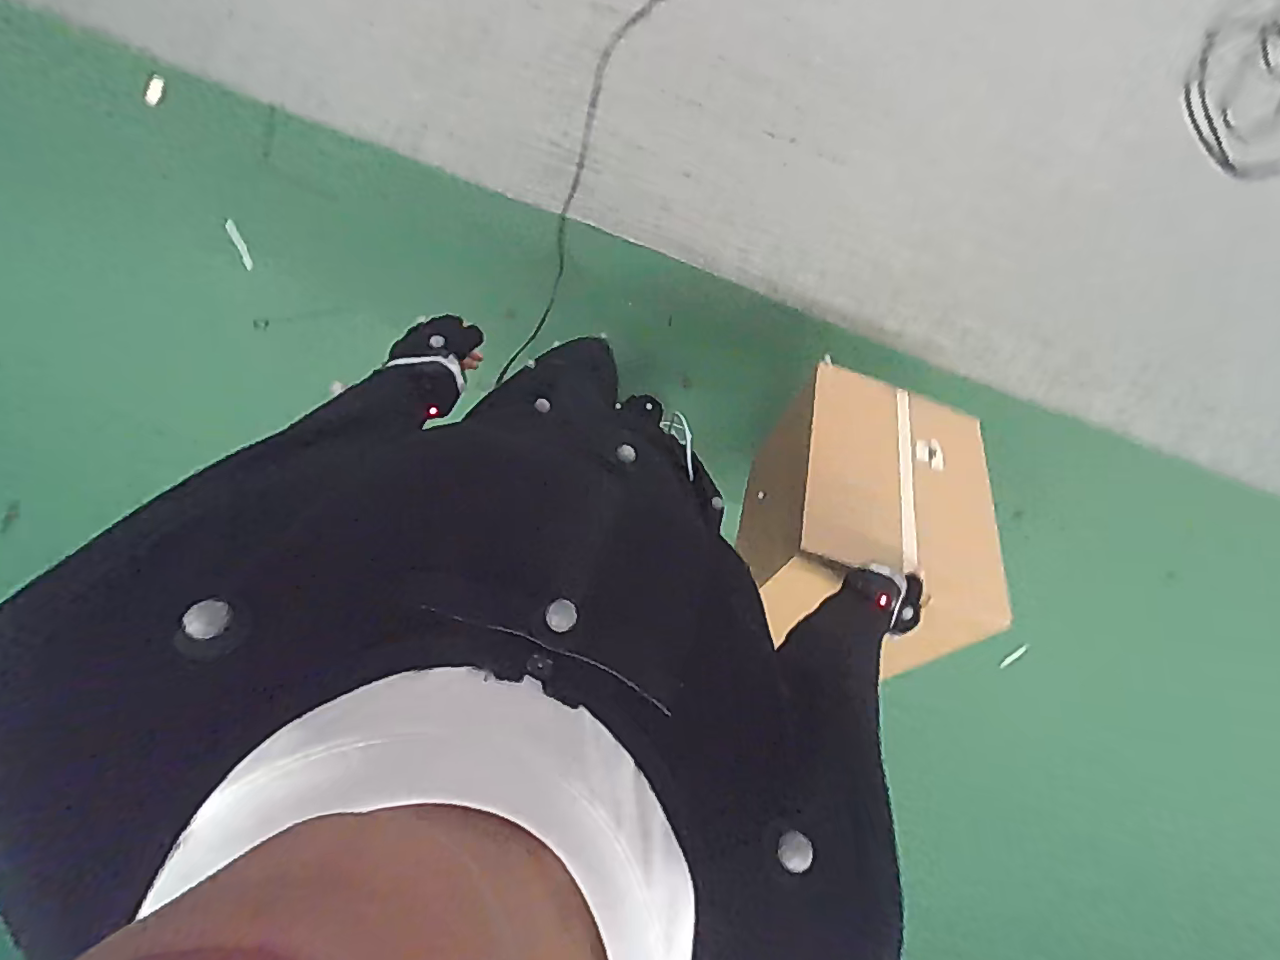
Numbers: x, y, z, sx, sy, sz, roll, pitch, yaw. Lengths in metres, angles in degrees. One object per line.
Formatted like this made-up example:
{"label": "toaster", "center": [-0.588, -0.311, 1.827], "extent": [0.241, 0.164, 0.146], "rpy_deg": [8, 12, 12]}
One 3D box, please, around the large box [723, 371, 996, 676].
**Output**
{"label": "large box", "center": [0.372, 0.084, 0.991], "extent": [0.320, 0.408, 0.320], "rpy_deg": [22, 142, -3]}
